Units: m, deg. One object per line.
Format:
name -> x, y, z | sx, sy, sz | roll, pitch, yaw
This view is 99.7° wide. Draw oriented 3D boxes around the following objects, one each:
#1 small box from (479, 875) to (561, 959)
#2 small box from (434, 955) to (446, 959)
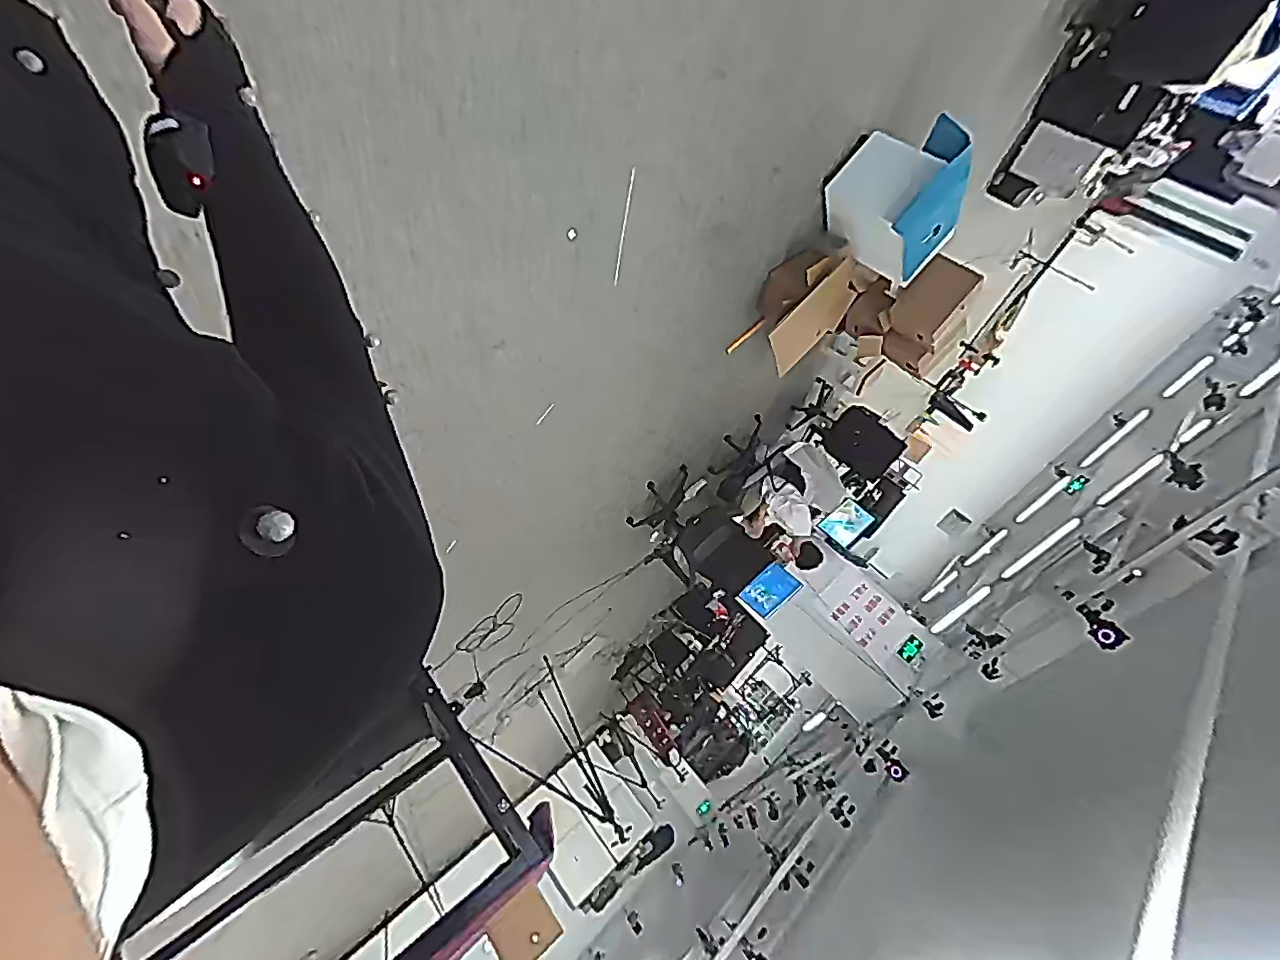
small box -> -0.364, 1.338, 1.632 | 0.179, 0.176, 0.168 | -28, 152, -33
small box -> -0.571, 1.447, 1.474 | 0.168, 0.176, 0.179 | -30, 154, -34
